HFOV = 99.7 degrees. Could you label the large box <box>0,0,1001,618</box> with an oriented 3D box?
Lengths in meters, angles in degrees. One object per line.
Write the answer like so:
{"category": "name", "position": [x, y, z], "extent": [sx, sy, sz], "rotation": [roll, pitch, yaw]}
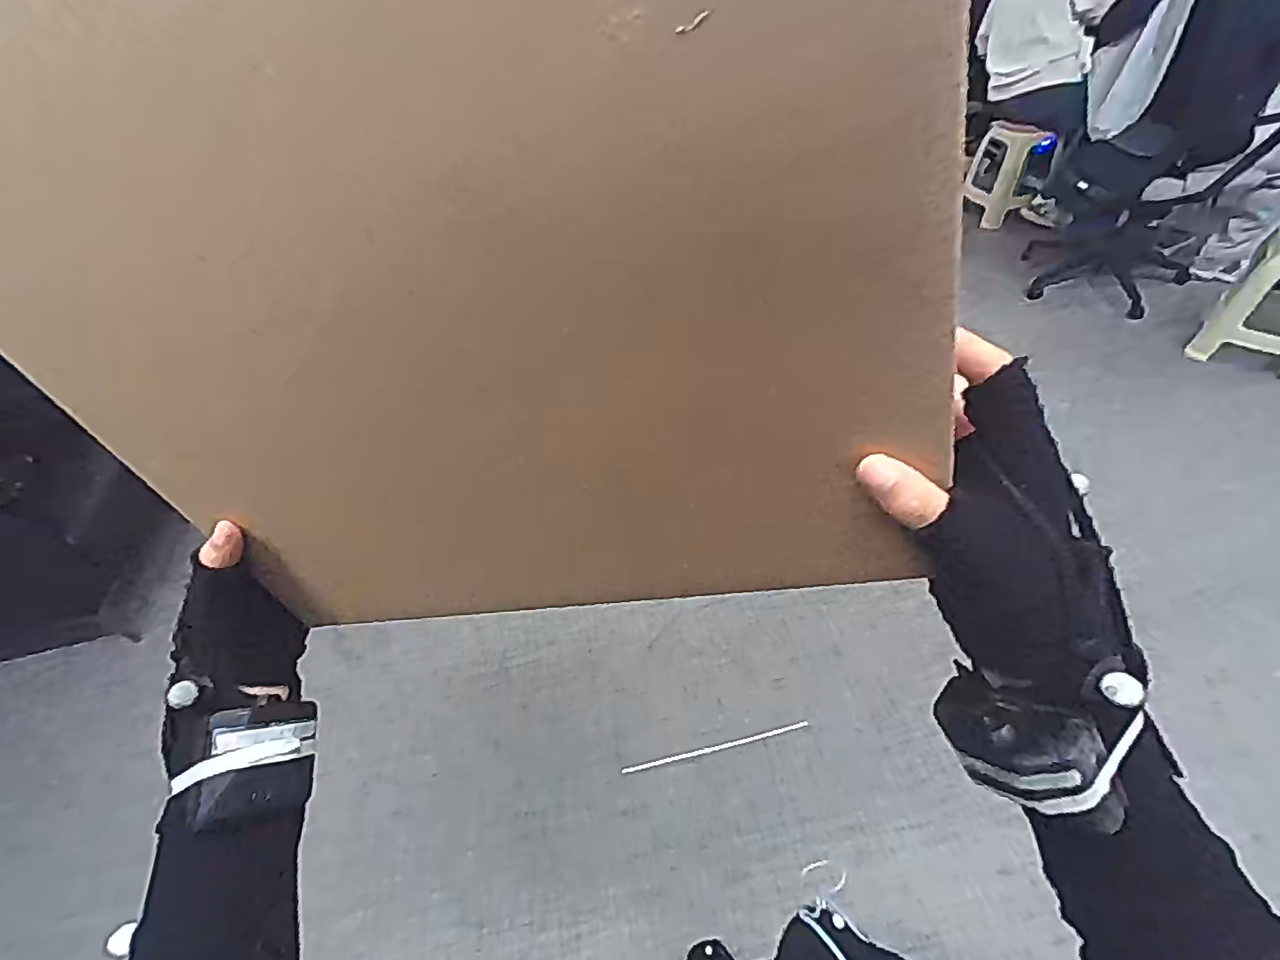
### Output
{"category": "large box", "position": [-0.057, -0.139, 0.347], "extent": [0.408, 0.320, 0.320], "rotation": [-8, 38, 16]}
